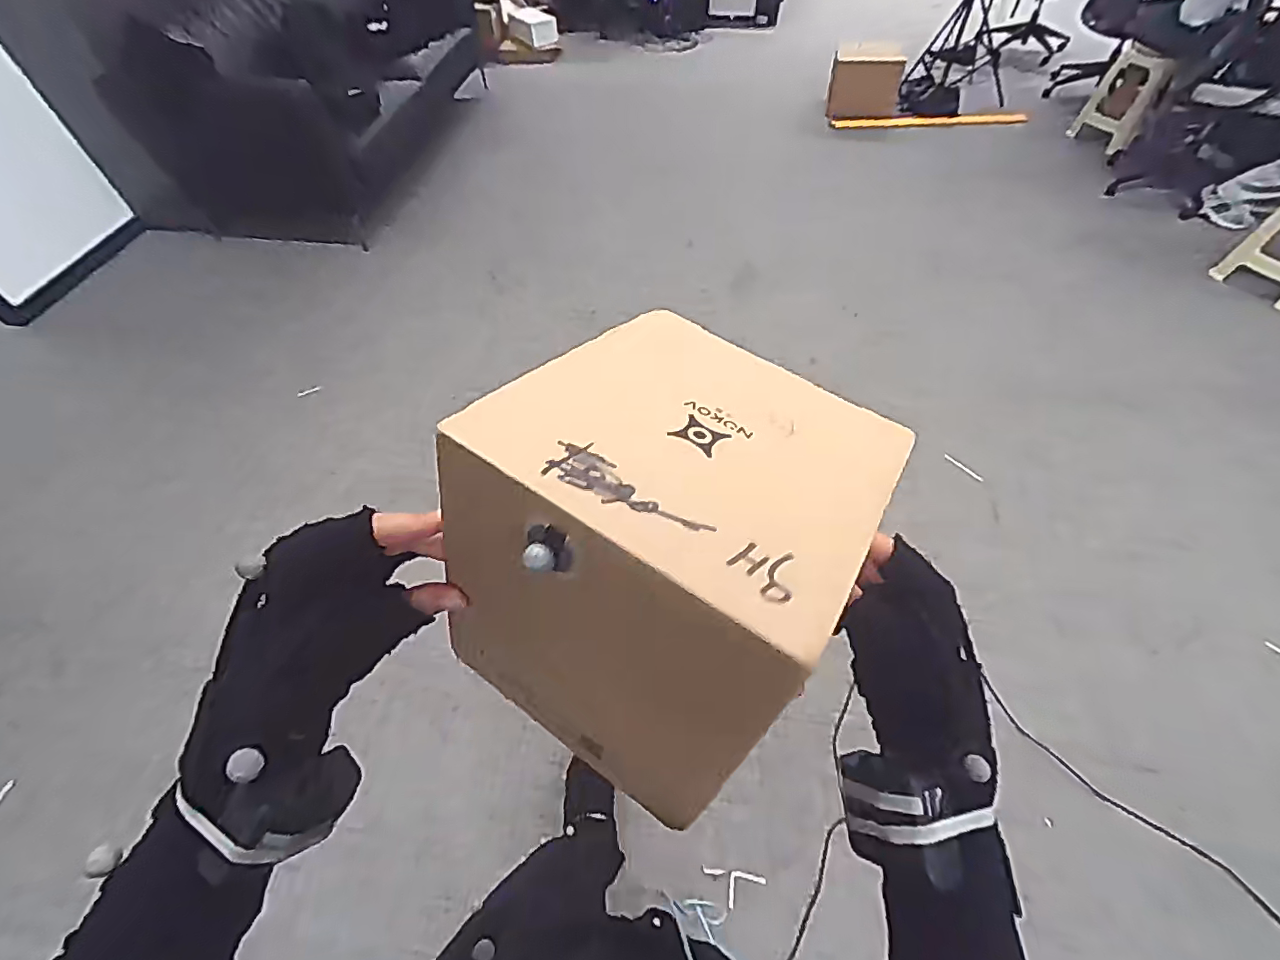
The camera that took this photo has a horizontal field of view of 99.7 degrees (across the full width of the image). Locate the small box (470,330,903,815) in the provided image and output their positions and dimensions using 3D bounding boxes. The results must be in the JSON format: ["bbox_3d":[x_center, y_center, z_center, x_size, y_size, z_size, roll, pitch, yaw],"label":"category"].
[{"bbox_3d":[0.018,0.041,0.313,0.168,0.176,0.179,30,41,18],"label":"small box"}]
